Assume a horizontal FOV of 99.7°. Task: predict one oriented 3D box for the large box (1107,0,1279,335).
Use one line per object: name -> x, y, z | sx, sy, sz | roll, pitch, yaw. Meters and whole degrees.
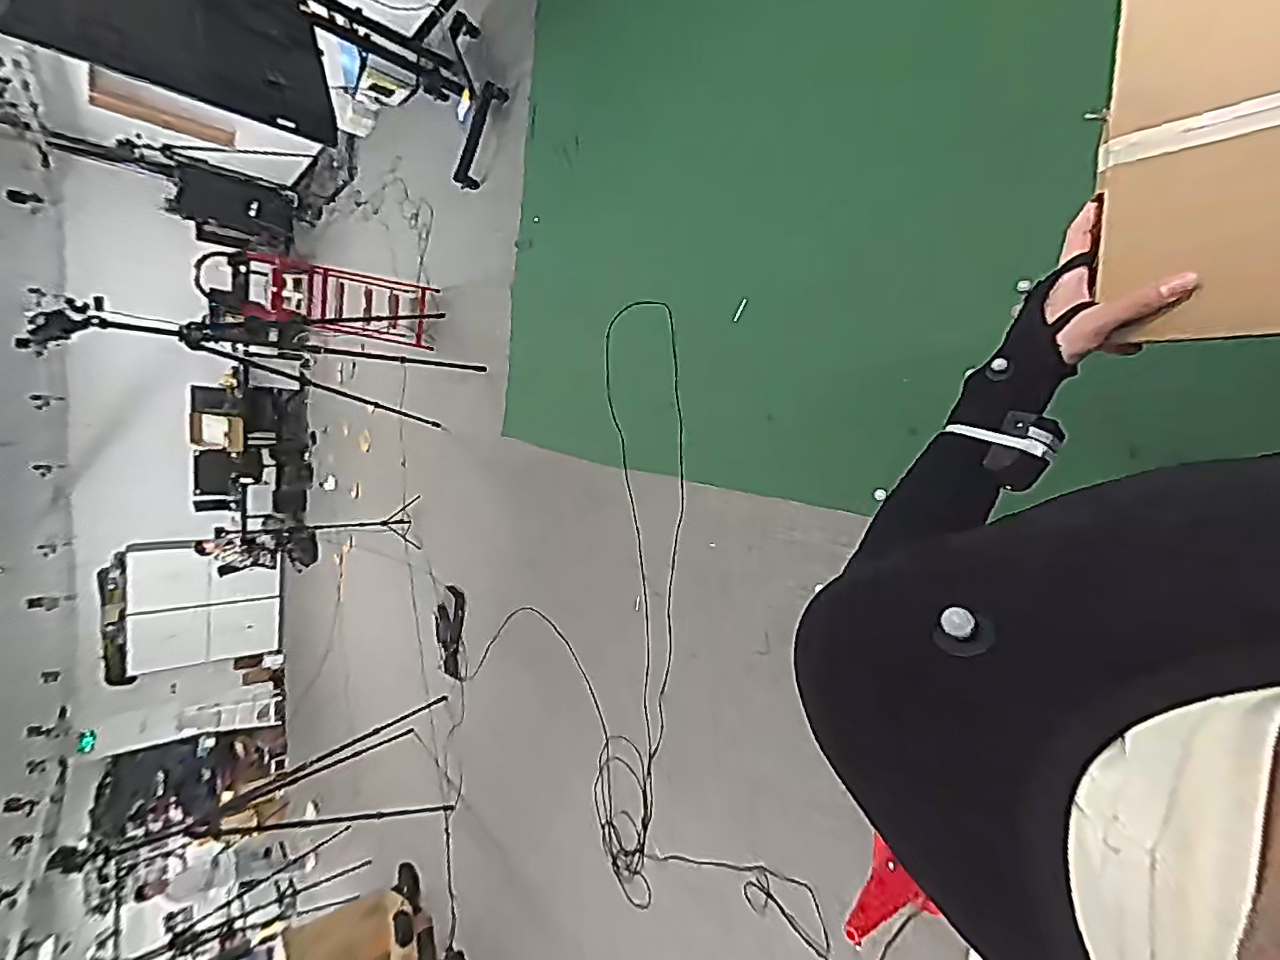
large box -> 0.643, -0.290, 0.405 | 0.408, 0.320, 0.320 | 8, 107, 48
